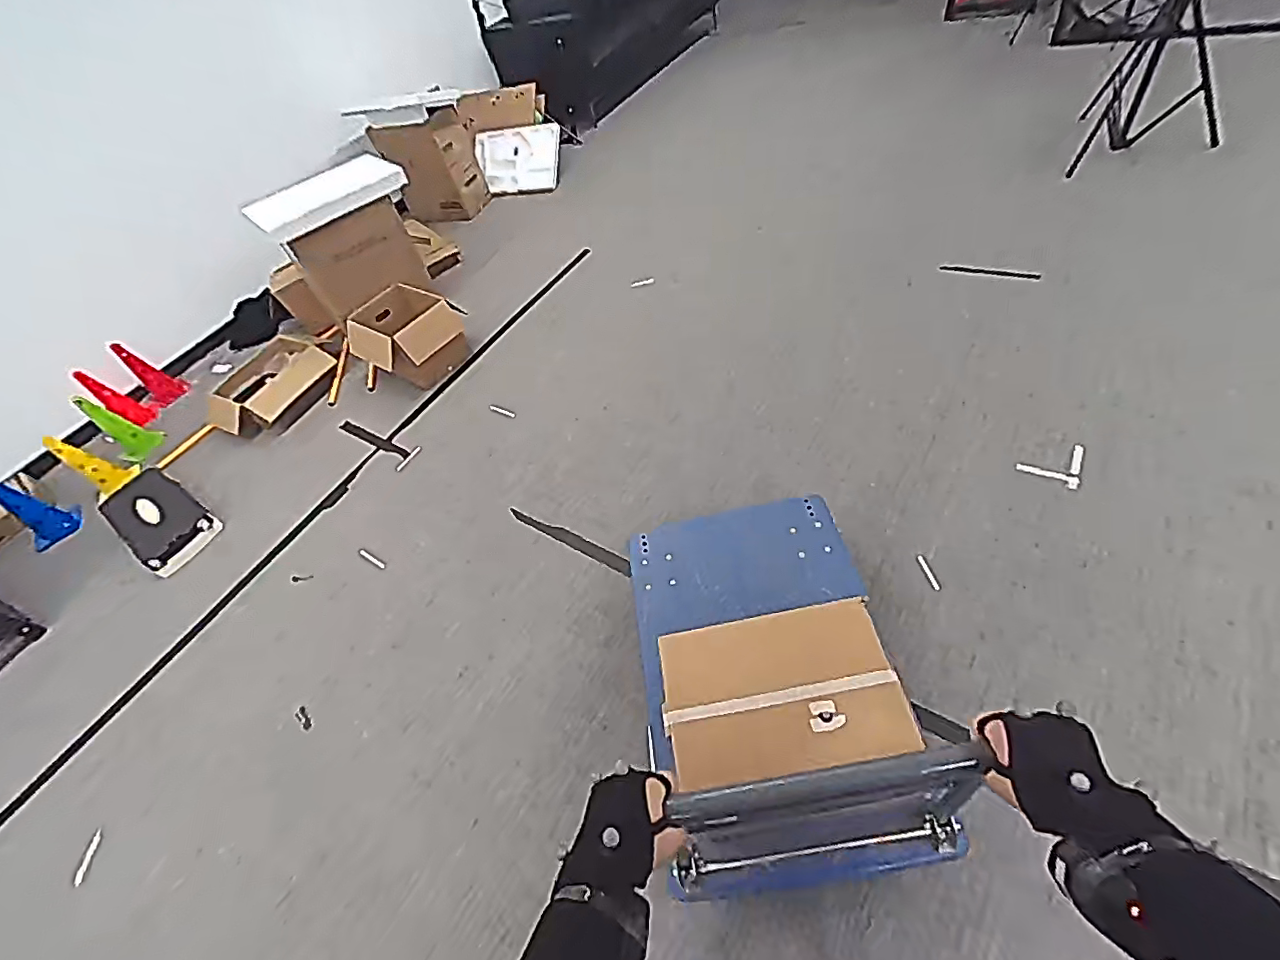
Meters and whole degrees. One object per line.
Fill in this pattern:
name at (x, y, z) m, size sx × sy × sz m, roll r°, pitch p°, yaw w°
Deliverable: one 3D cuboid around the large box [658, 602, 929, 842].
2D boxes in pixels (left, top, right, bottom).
large box at (0.273, 0.485, 1.067) m, size 0.408 × 0.320 × 0.320 m, roll -12°, pitch 50°, yaw 5°
